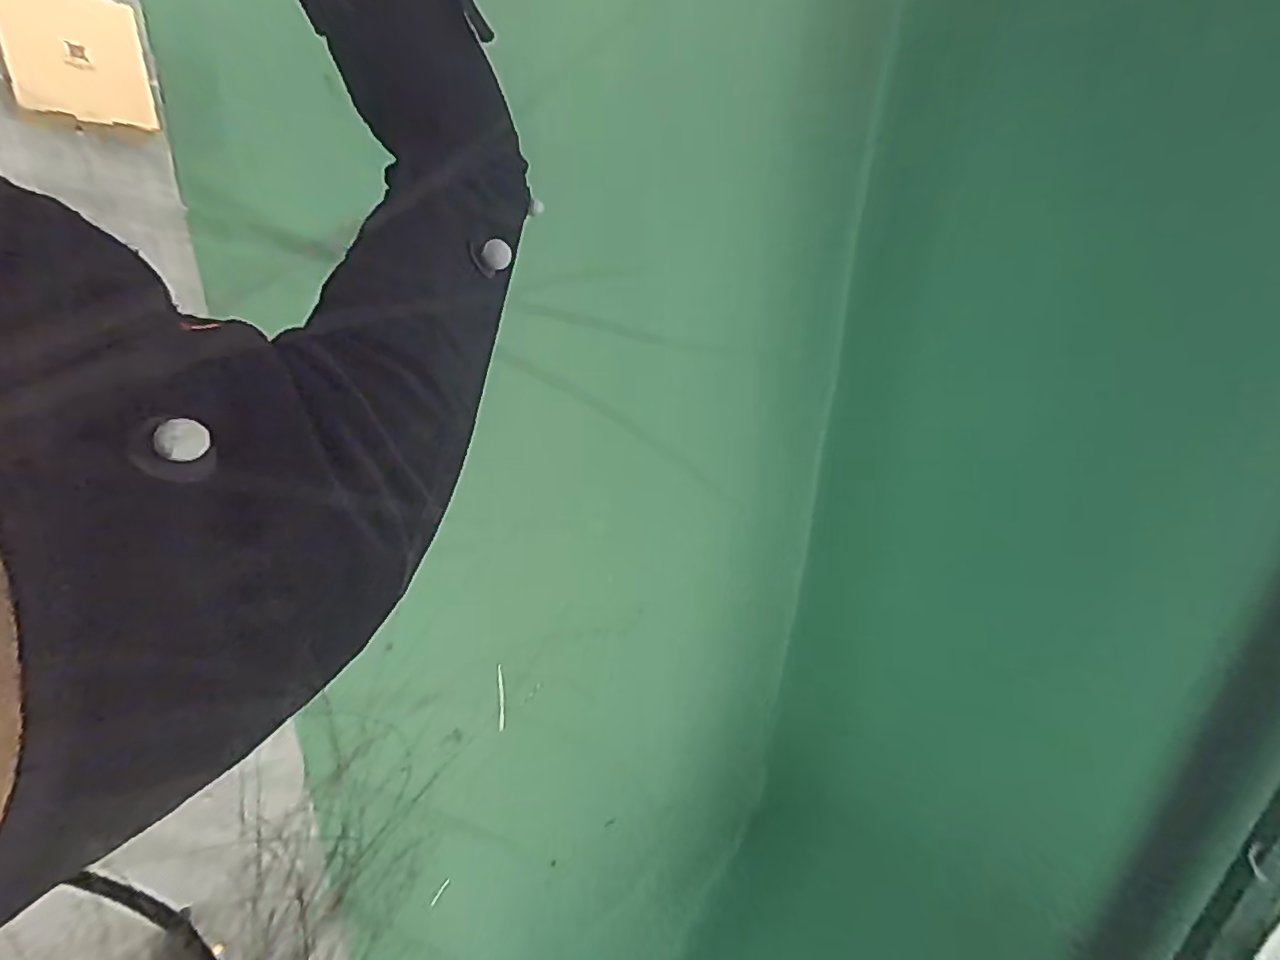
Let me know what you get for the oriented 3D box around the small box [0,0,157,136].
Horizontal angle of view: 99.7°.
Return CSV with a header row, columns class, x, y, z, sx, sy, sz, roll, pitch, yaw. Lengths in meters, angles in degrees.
class,x,y,z,sx,sy,sz,roll,pitch,yaw
small box,-0.931,-0.689,0.884,0.168,0.176,0.179,-18,119,-43
